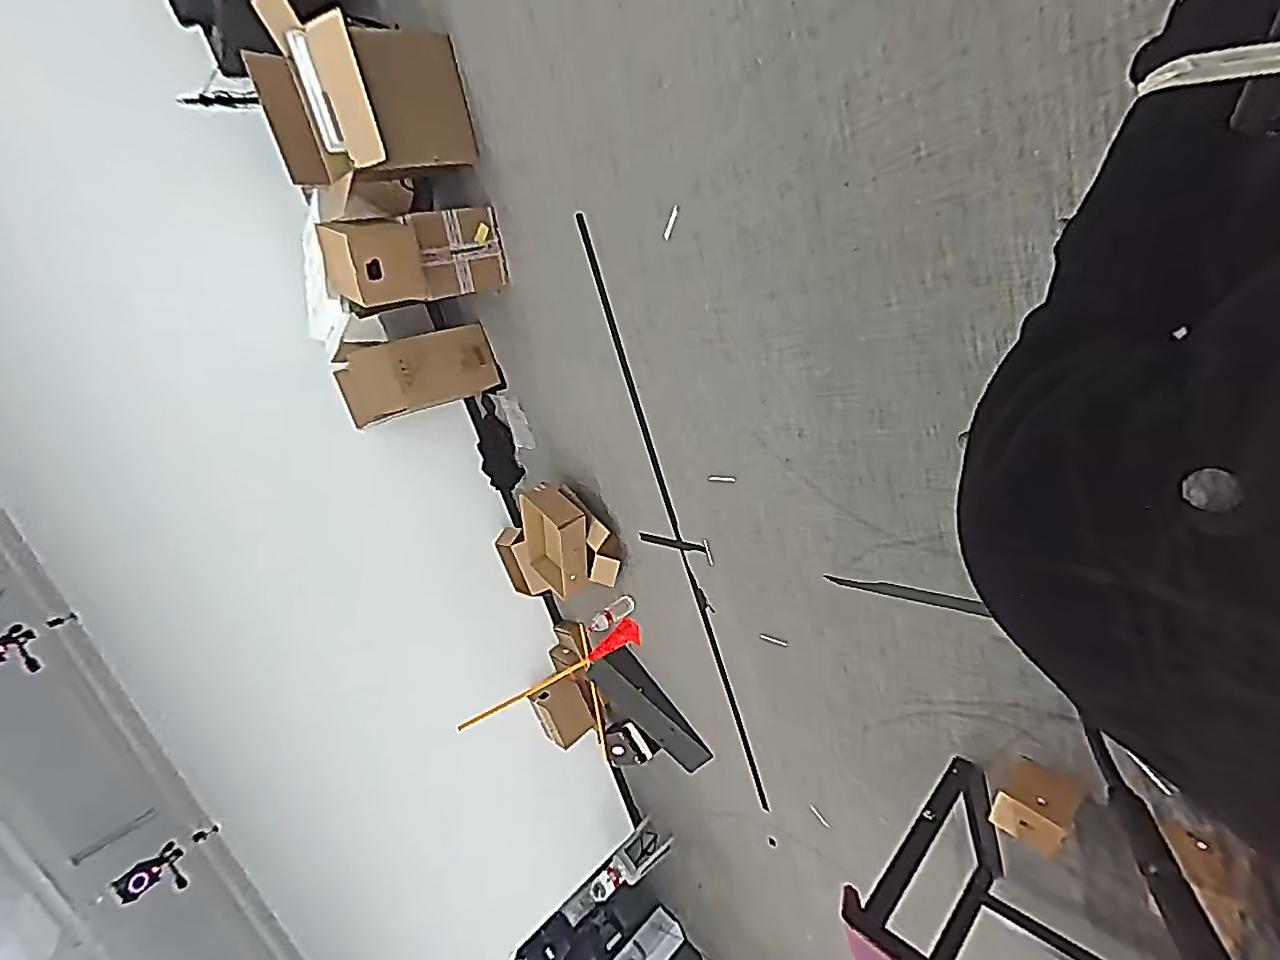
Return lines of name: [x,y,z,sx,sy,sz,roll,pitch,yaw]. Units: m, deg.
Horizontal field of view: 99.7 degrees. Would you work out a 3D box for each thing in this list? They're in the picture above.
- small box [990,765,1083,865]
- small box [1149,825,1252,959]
small box: [1.226,1.021,1.673,0.179,0.176,0.168,23,130,42]
small box: [1.444,1.050,1.391,0.168,0.176,0.179,2,114,53]
